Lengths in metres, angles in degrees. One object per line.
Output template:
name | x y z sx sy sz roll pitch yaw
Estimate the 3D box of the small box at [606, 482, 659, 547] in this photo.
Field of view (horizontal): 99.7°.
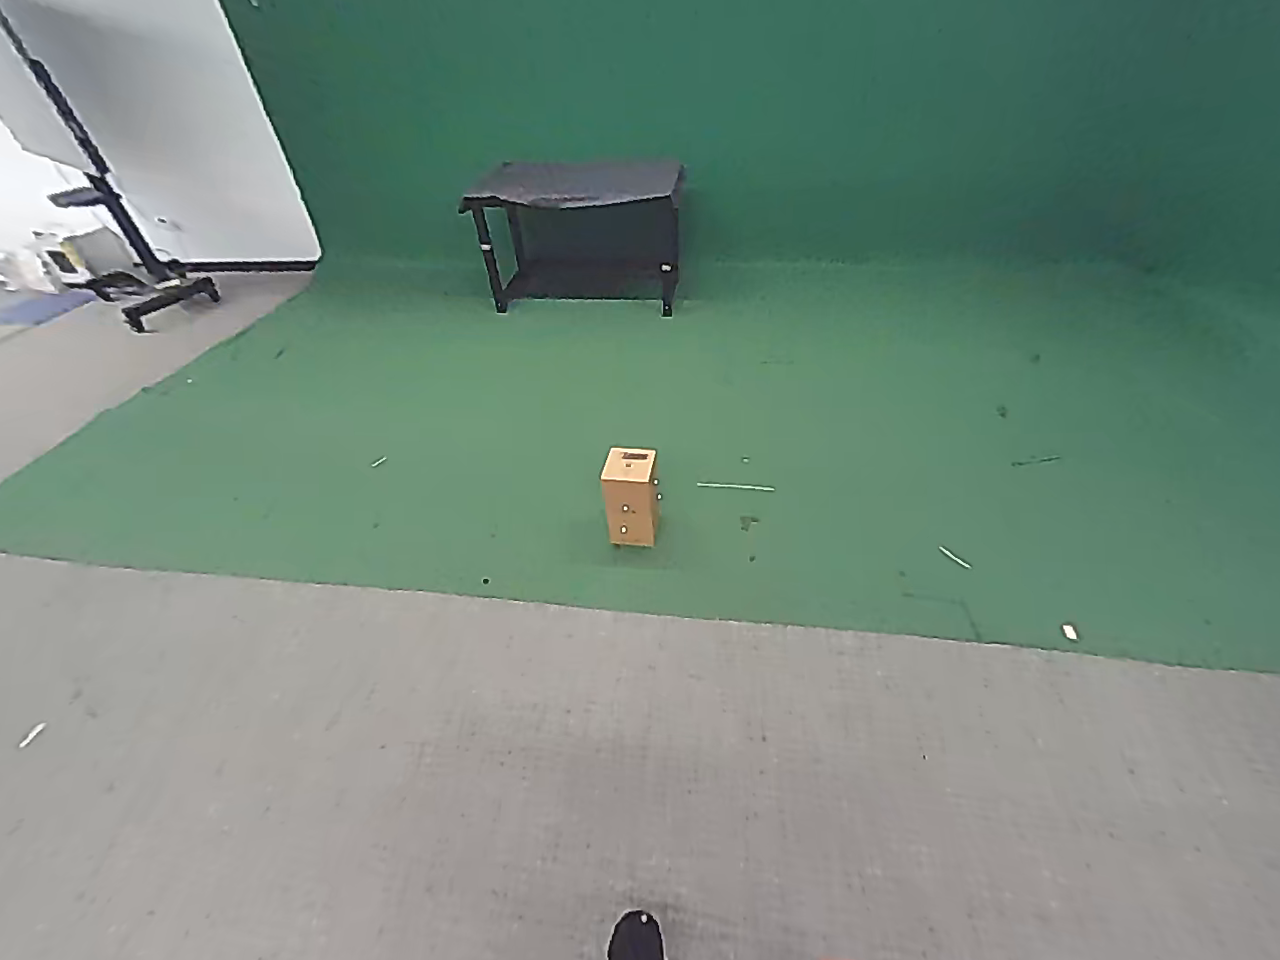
small box | -0.020 0.130 2.015 0.168 0.176 0.179 3 41 10
